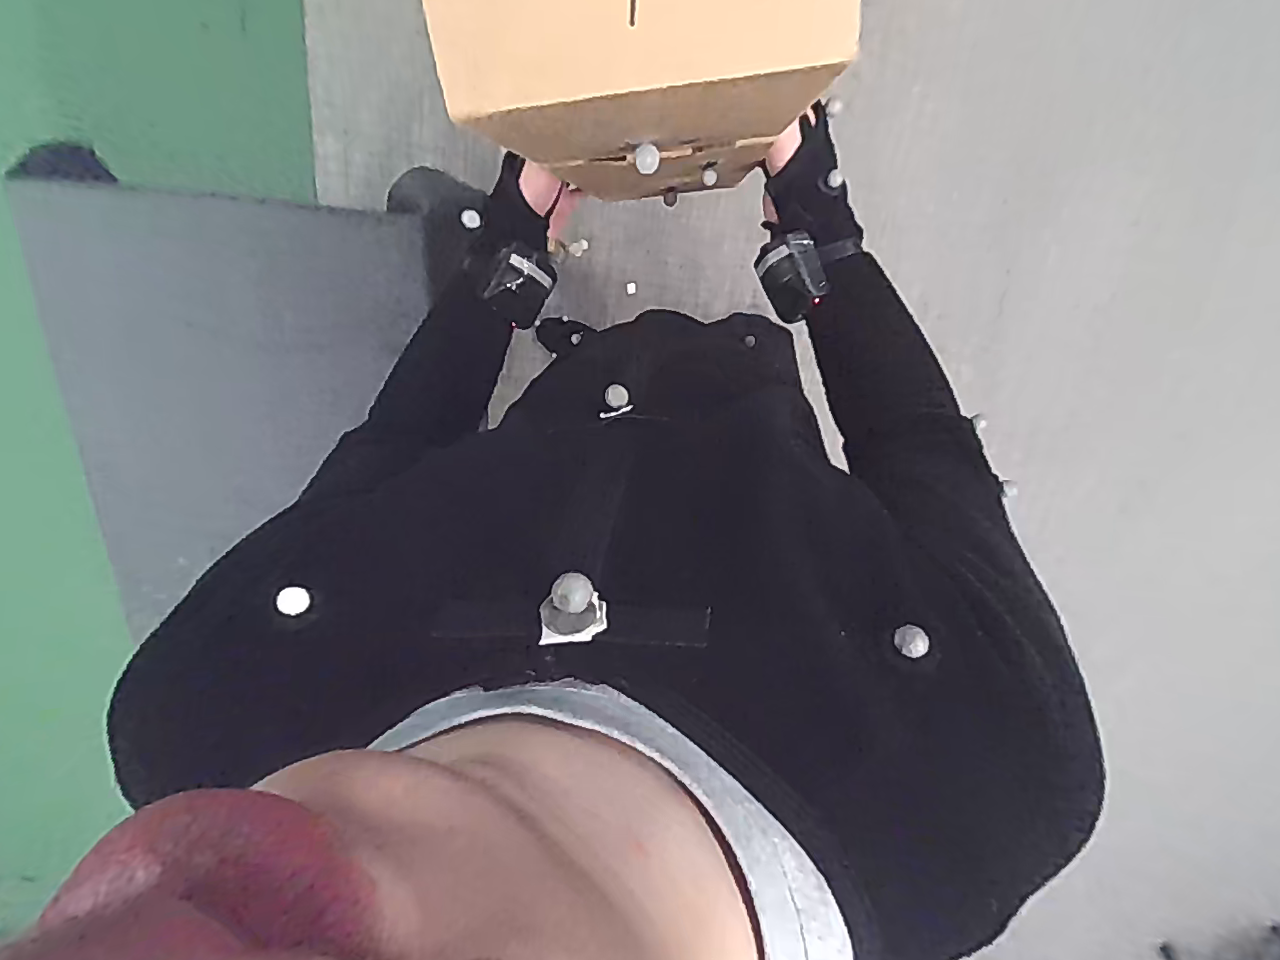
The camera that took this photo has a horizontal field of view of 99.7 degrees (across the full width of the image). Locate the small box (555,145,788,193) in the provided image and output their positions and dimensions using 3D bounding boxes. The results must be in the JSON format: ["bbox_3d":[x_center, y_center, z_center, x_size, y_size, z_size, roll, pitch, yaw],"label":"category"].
[{"bbox_3d":[0.020,-0.328,0.414,0.168,0.176,0.179,-4,112,6],"label":"small box"}]

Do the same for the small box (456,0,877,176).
[{"bbox_3d":[0.009,-0.263,0.263,0.168,0.176,0.179,-4,115,6],"label":"small box"}]
